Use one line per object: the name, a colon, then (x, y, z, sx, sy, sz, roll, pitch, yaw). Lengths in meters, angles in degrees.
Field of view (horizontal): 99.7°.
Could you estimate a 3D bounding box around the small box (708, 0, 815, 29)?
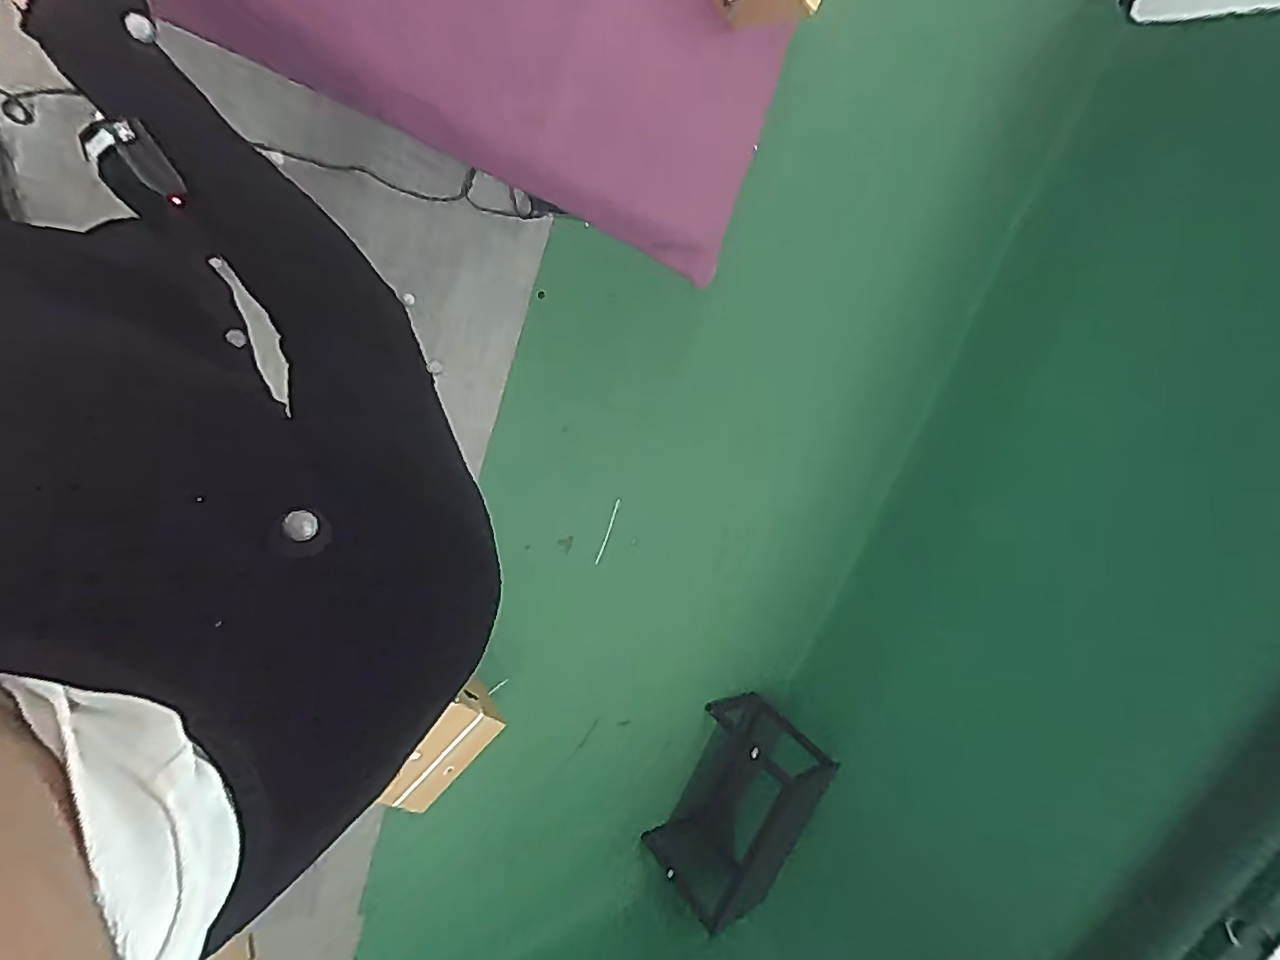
small box: (0.193, -0.853, 0.835, 0.168, 0.176, 0.179, 13, 106, -44)
